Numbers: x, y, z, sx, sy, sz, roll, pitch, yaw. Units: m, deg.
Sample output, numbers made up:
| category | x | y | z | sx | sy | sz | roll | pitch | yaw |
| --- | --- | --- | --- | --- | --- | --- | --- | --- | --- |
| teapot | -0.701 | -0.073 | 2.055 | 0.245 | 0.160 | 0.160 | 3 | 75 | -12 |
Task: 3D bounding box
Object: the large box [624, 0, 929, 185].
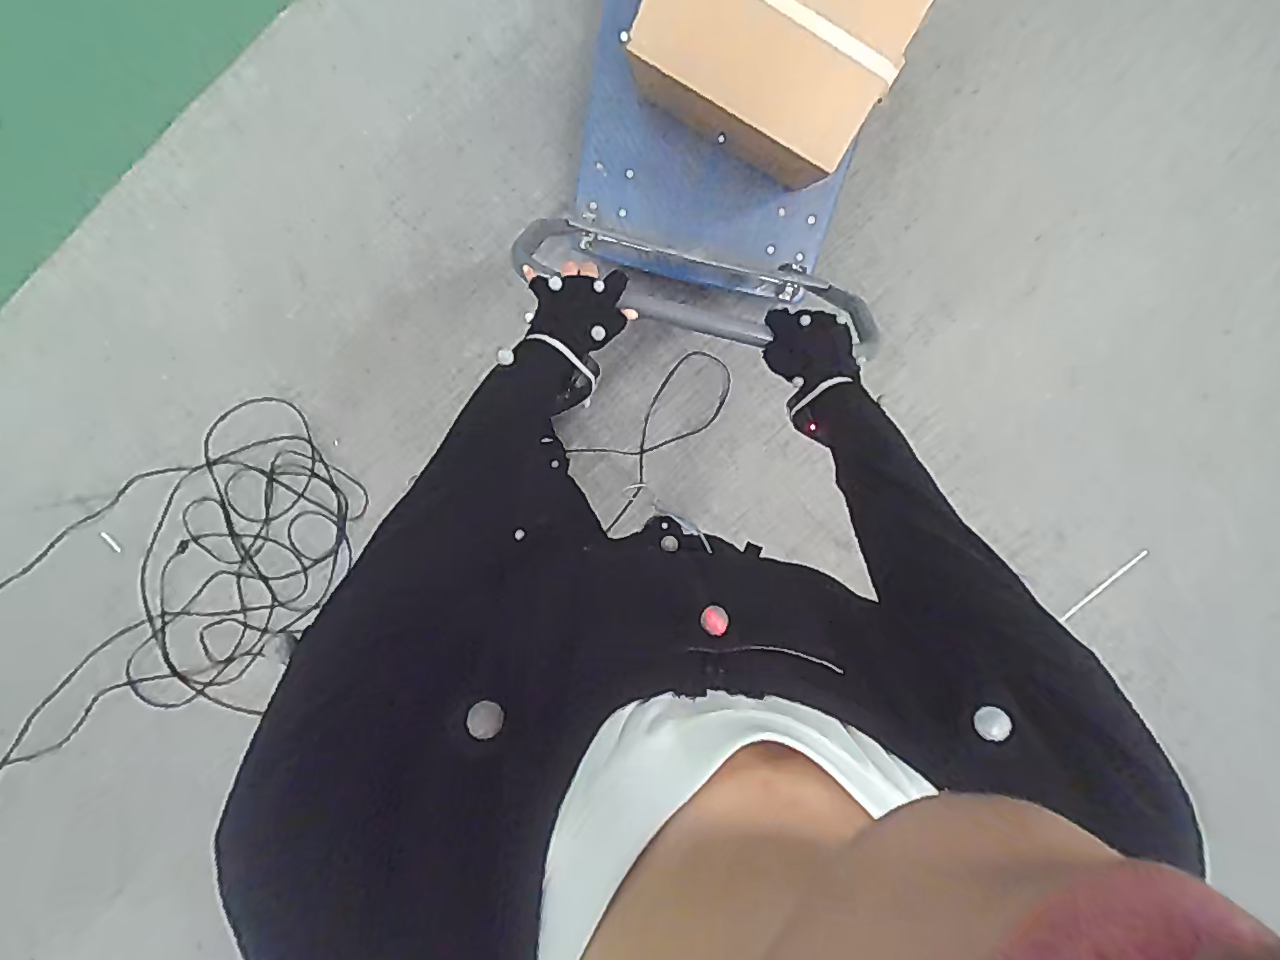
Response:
| category | x | y | z | sx | sy | sz | roll | pitch | yaw |
| --- | --- | --- | --- | --- | --- | --- | --- | --- | --- |
| large box | 0.231 | -0.794 | 0.980 | 0.408 | 0.320 | 0.320 | 28 | 113 | -7 |
